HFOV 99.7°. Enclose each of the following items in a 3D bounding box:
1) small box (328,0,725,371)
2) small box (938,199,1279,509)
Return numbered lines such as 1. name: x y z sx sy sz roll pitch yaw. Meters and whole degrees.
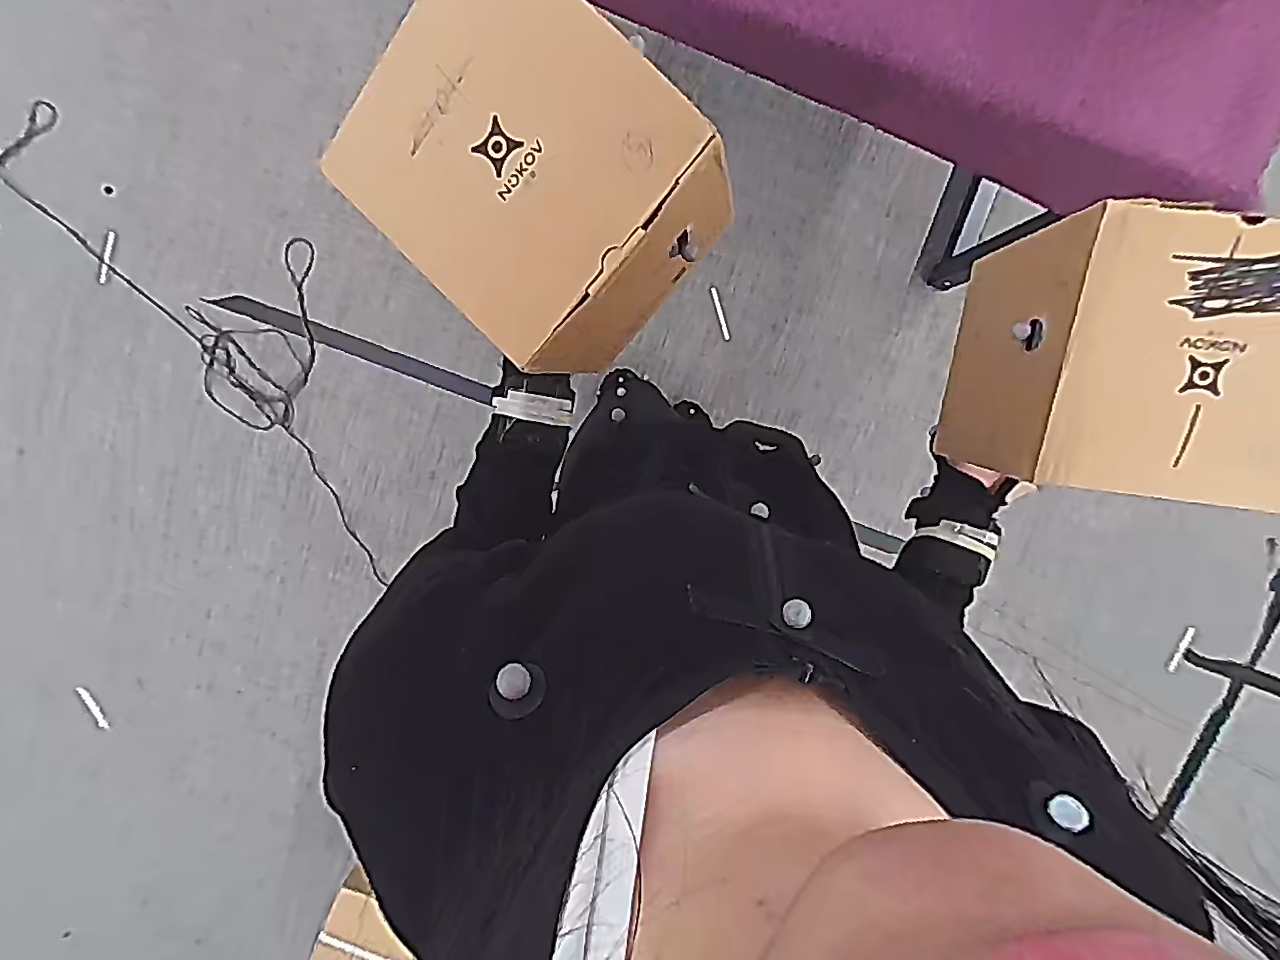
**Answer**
1. small box: -0.056 -0.195 0.377 0.179 0.176 0.168 44 105 2
2. small box: 0.357 -0.089 0.413 0.168 0.176 0.179 8 101 6
